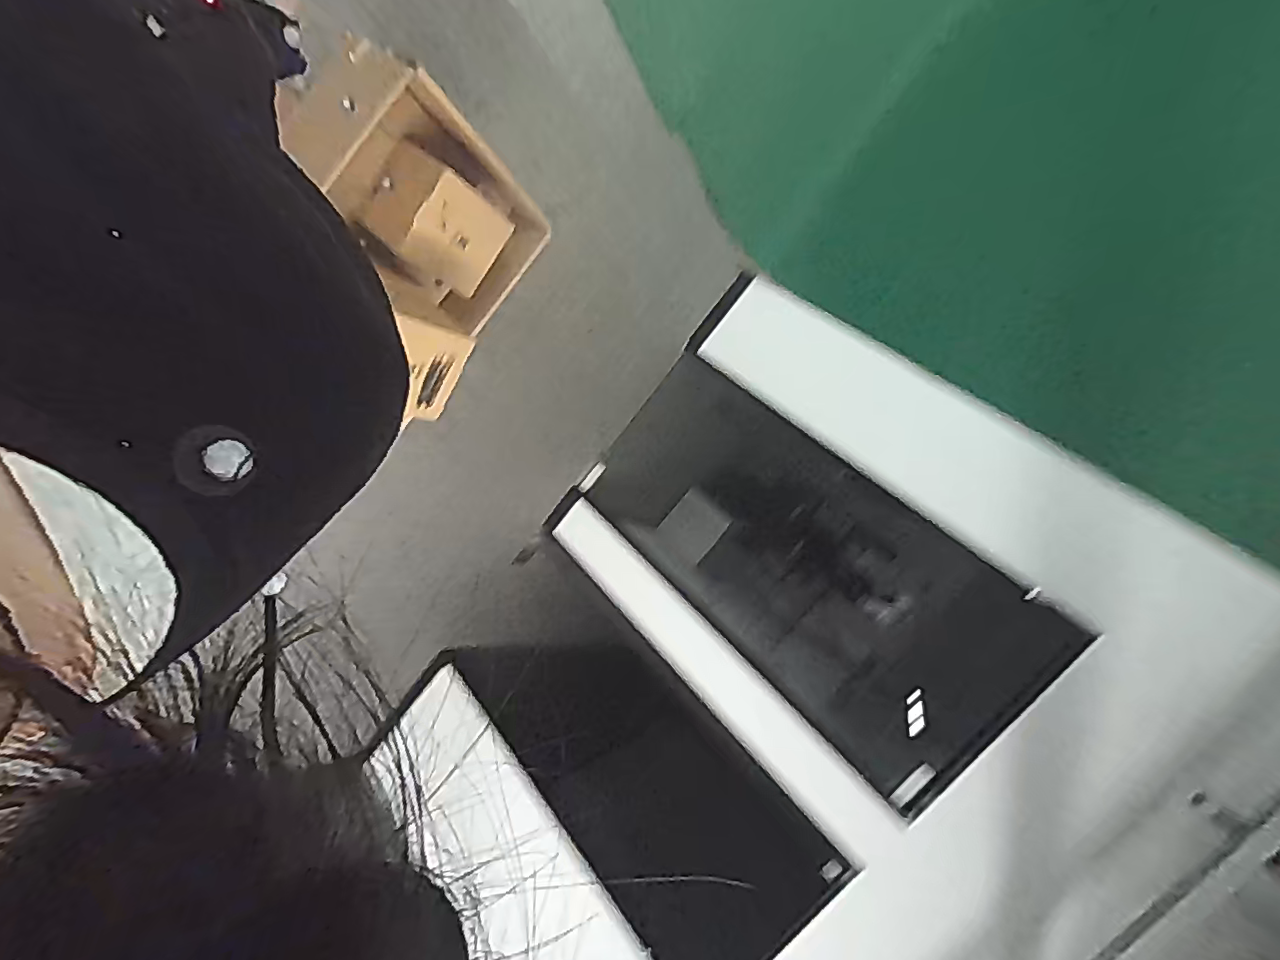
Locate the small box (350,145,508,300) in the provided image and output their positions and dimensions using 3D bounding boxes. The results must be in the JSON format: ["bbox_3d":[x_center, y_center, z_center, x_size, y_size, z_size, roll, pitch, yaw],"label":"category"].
[{"bbox_3d":[-0.390,-0.477,1.003,0.168,0.176,0.179,-52,154,8],"label":"small box"}]
